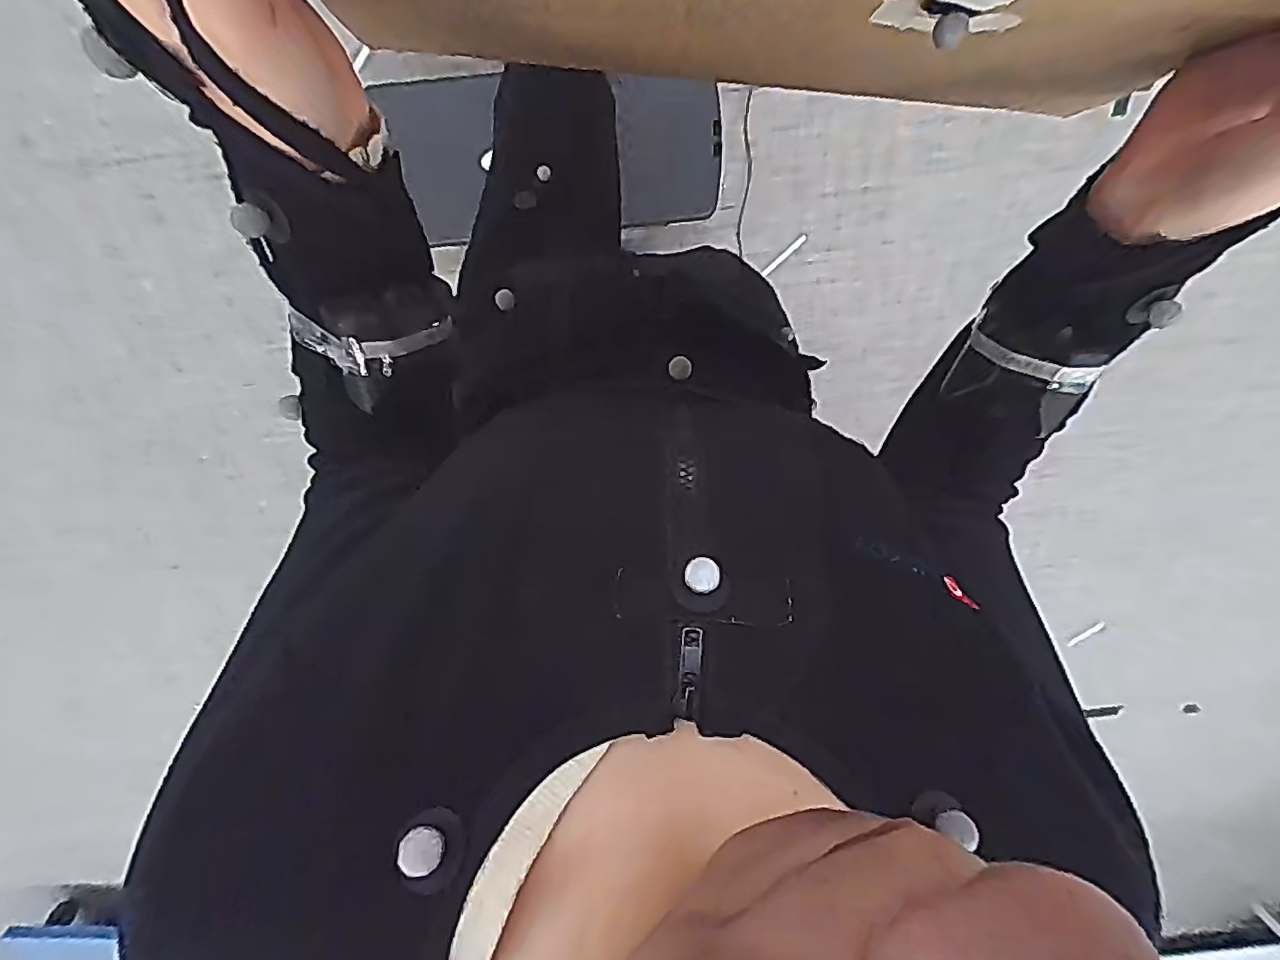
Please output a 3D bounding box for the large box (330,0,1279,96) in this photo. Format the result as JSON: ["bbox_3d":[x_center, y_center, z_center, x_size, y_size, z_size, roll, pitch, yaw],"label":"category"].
[{"bbox_3d":[0.062,-0.333,0.120,0.408,0.320,0.320,2,109,-4],"label":"large box"}]
